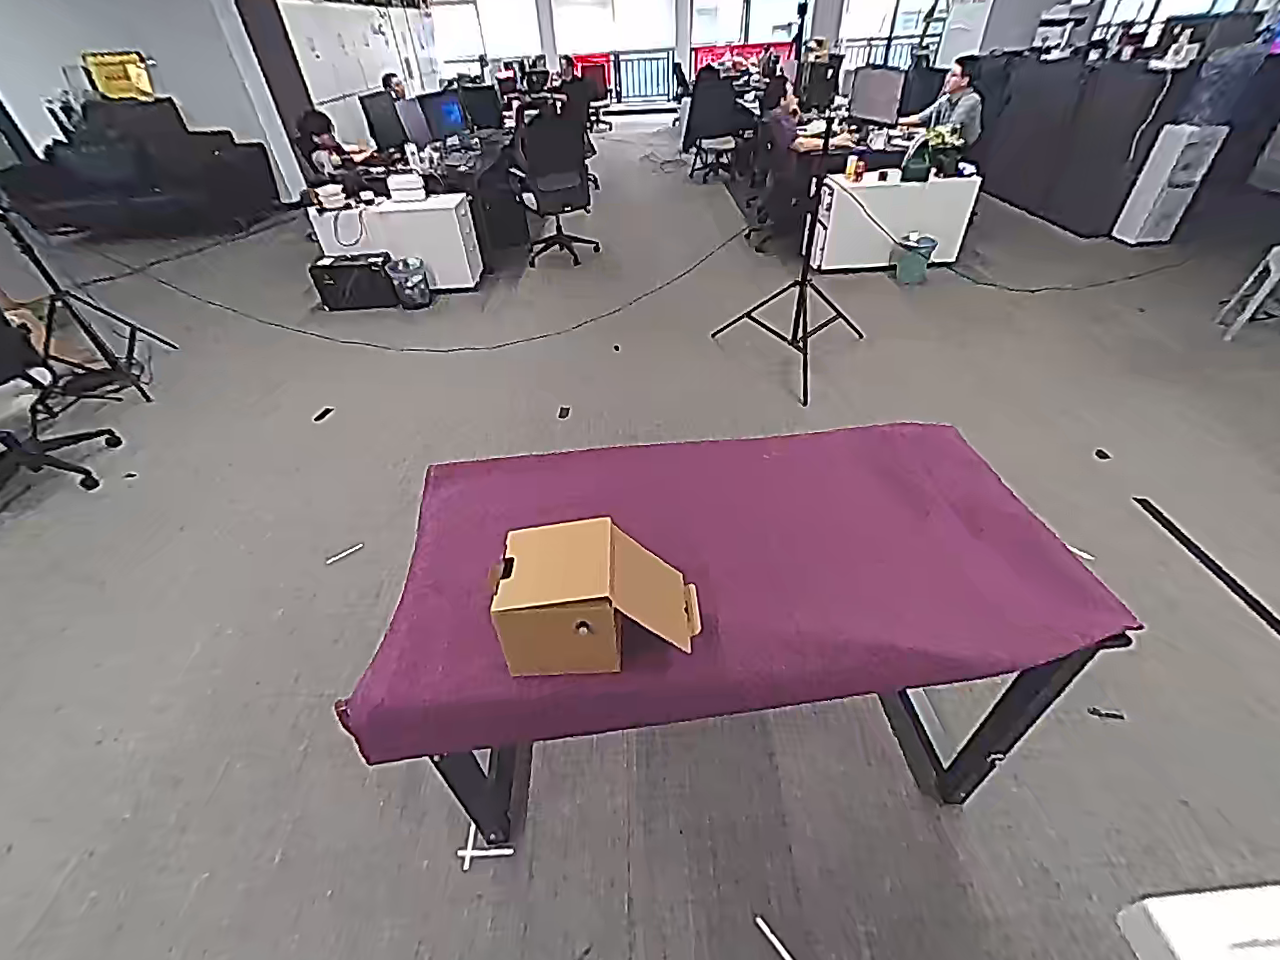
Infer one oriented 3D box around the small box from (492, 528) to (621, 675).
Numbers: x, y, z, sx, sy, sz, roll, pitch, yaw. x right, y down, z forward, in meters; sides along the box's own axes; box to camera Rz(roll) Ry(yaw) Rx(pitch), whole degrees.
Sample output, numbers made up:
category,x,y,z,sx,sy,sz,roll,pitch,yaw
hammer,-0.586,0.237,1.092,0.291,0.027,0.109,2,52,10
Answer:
category,x,y,z,sx,sy,sz,roll,pitch,yaw
small box,-0.122,0.197,0.876,0.179,0.176,0.168,-3,38,1
